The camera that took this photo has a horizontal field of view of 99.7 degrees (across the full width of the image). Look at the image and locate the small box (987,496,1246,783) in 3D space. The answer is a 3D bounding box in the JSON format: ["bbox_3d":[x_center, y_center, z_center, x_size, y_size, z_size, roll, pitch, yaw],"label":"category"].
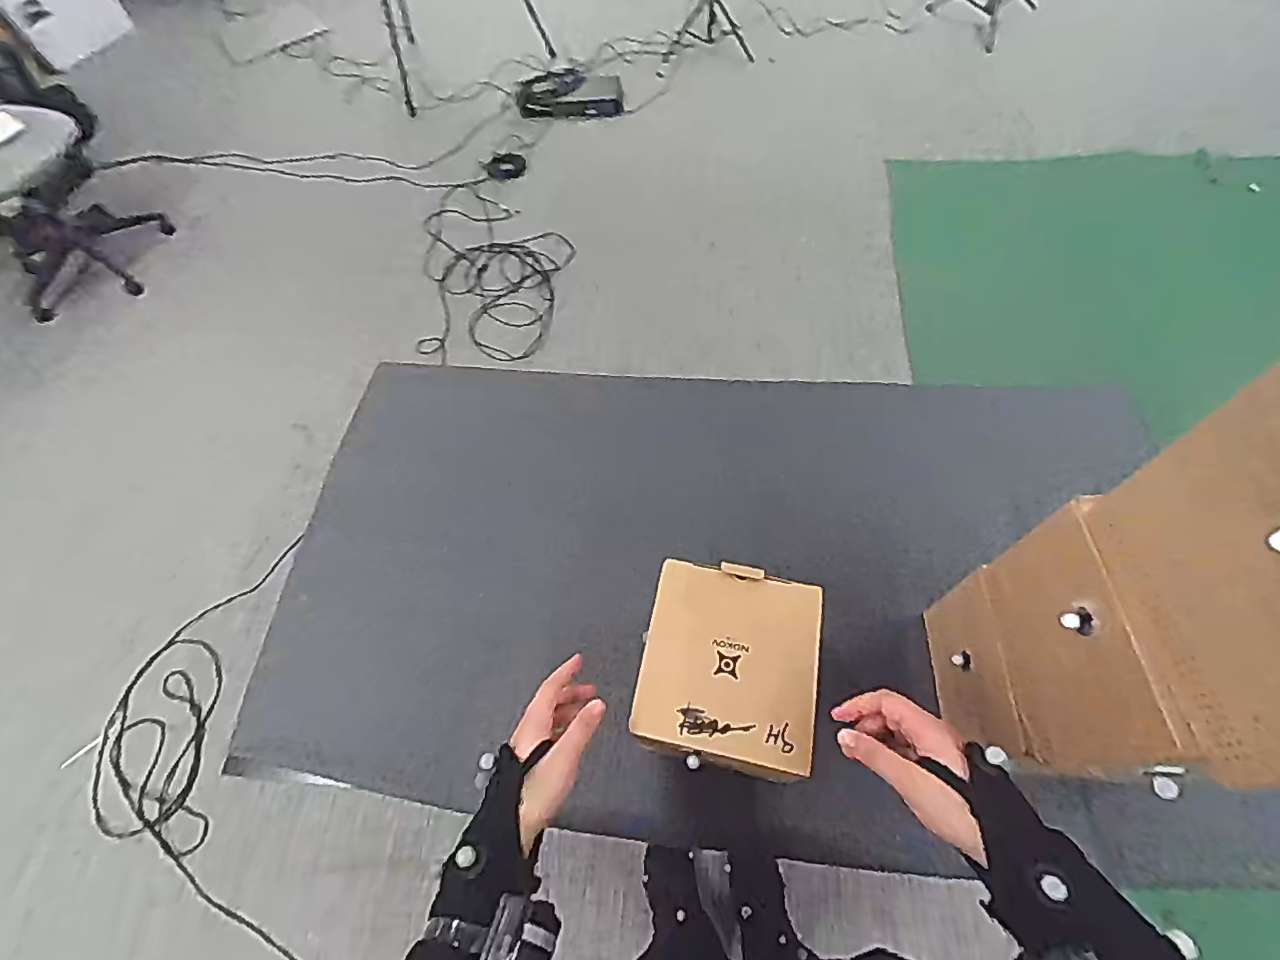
[{"bbox_3d":[0.403,0.127,0.414,0.168,0.176,0.179,-1,60,6],"label":"small box"}]

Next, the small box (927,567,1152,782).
[{"bbox_3d":[0.421,0.204,0.555,0.168,0.176,0.179,2,59,7],"label":"small box"}]

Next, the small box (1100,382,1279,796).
[{"bbox_3d":[0.390,0.052,0.267,0.168,0.176,0.179,-5,59,5],"label":"small box"}]
